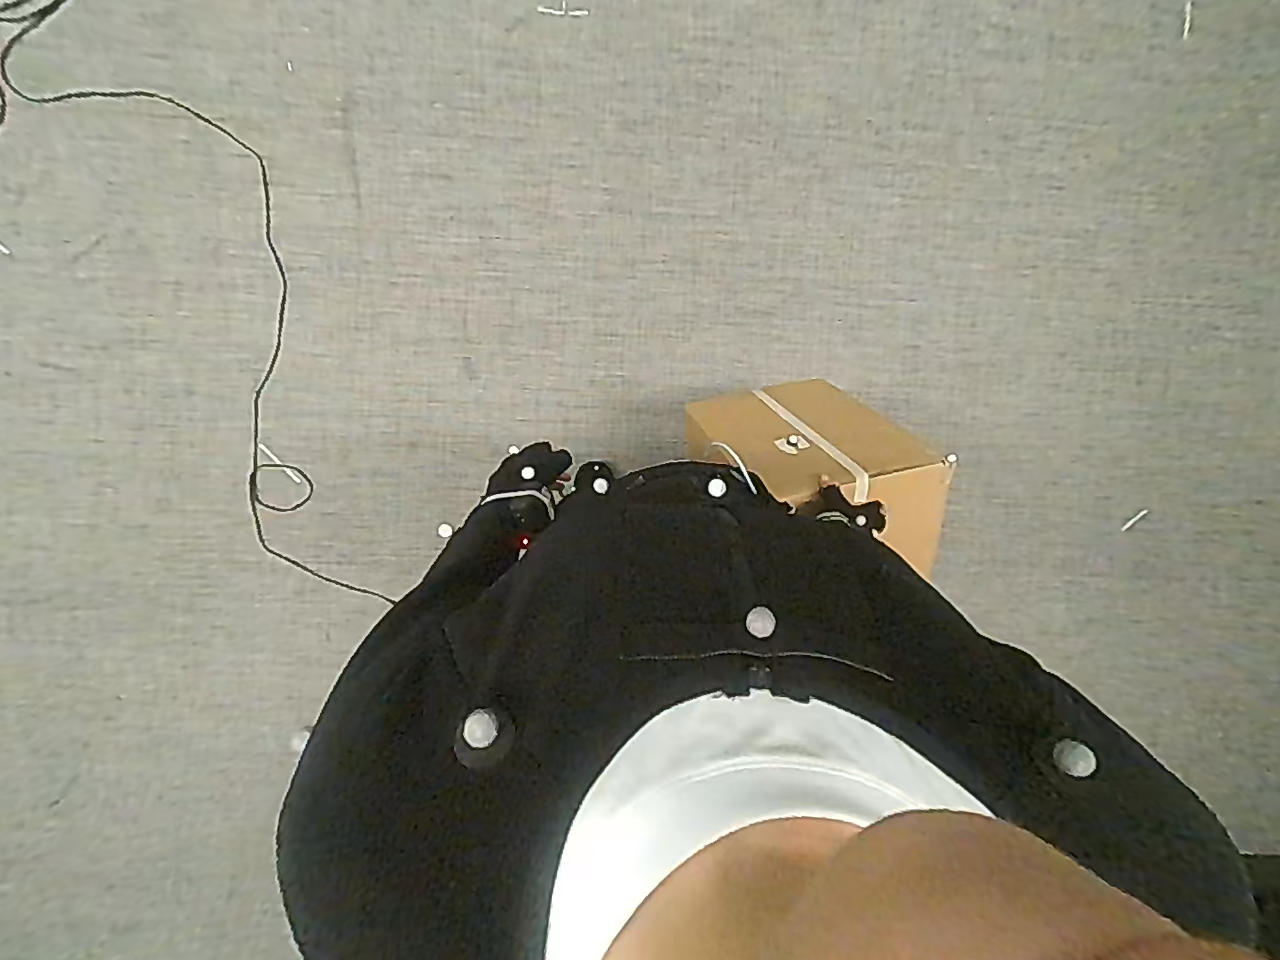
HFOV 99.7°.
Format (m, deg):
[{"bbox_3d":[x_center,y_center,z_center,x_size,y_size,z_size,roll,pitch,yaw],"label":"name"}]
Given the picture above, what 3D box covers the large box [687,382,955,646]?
[{"bbox_3d":[0.301,0.040,1.040,0.320,0.408,0.320,-12,121,-8],"label":"large box"}]
